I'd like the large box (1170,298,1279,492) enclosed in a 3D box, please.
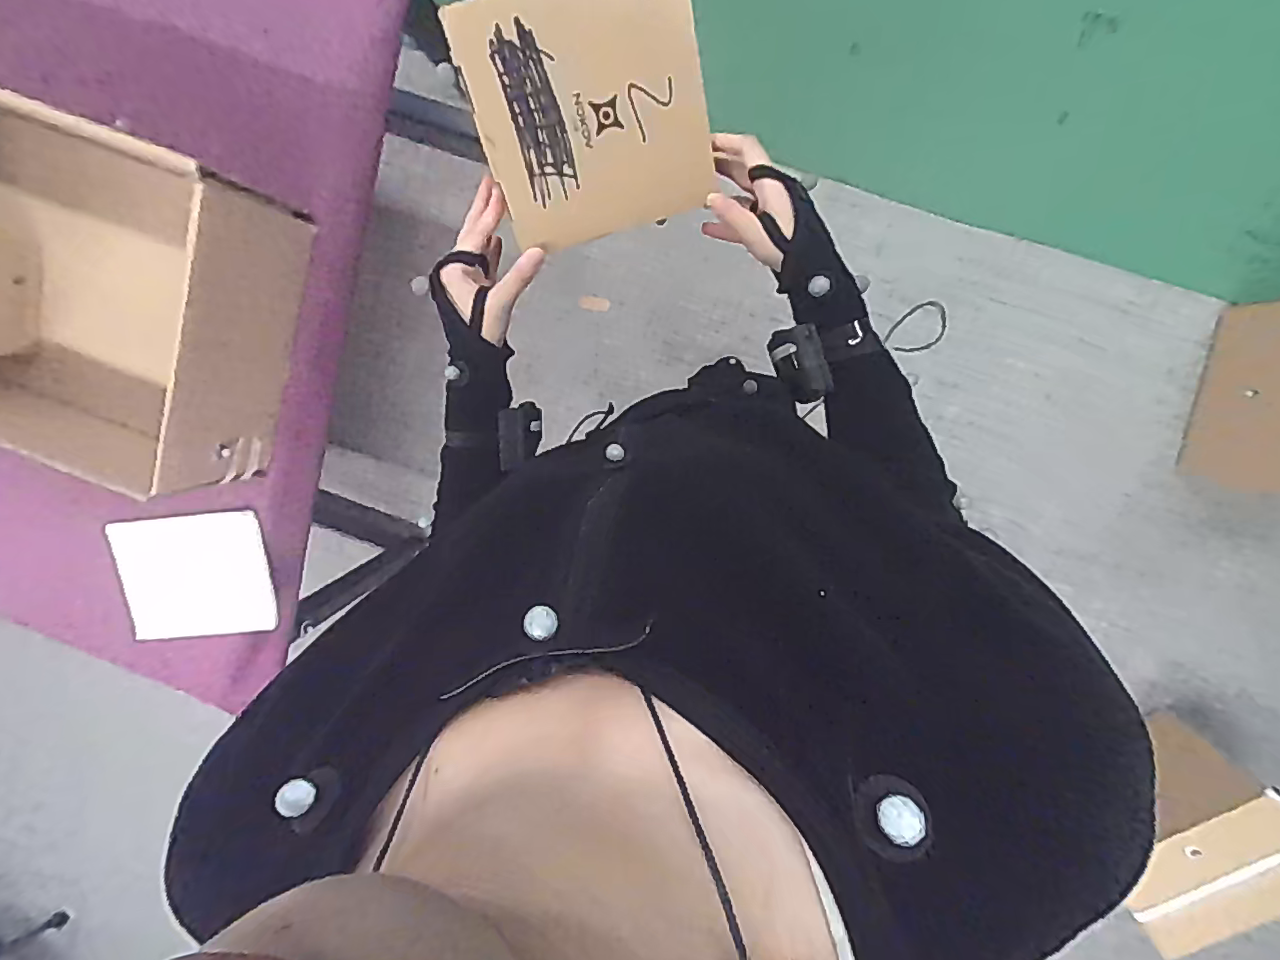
[{"bbox_3d":[1.489,-0.180,1.184,0.320,0.320,0.408,5,100,4],"label":"large box"}]
